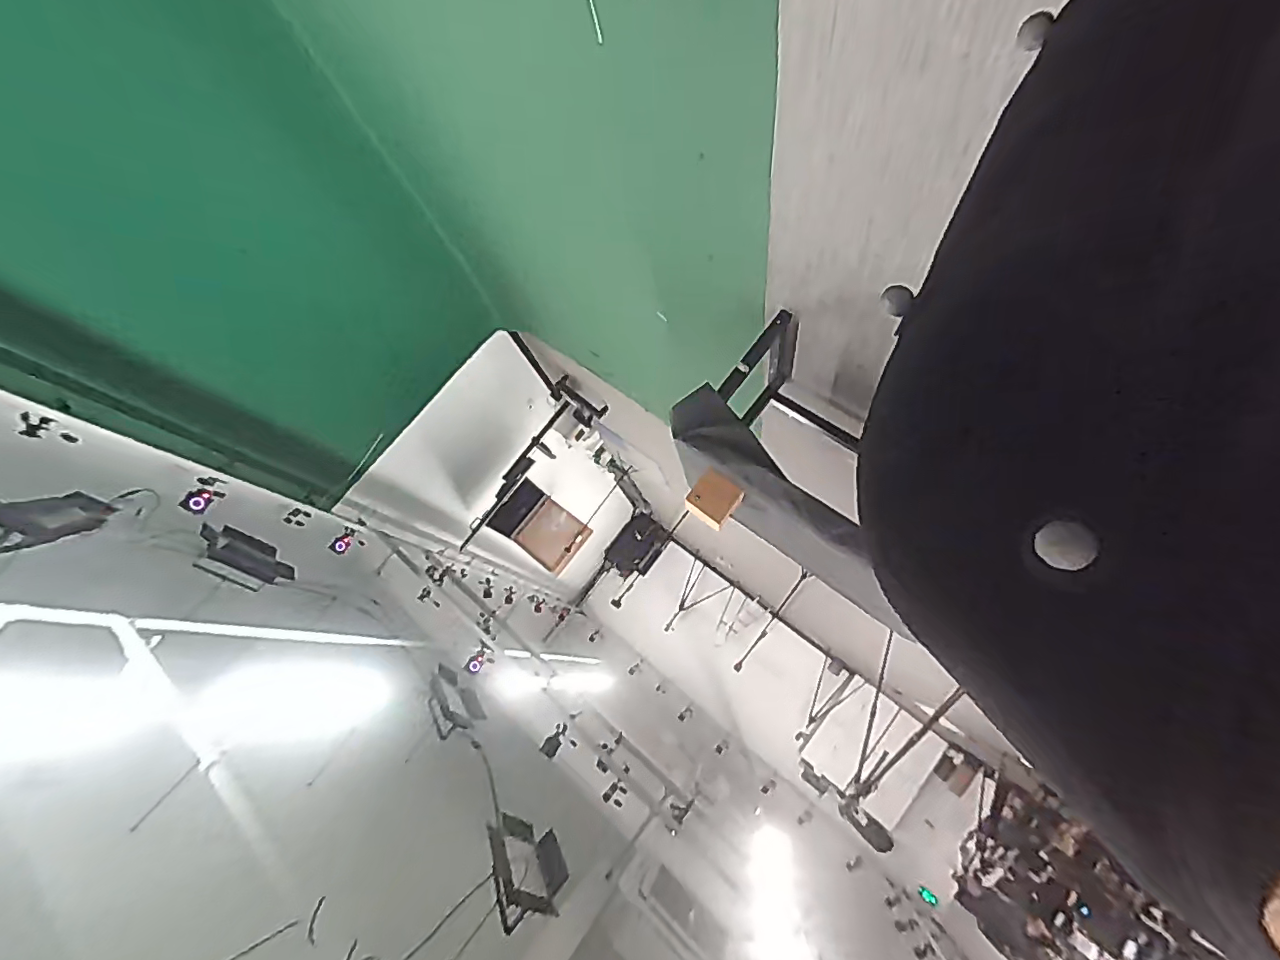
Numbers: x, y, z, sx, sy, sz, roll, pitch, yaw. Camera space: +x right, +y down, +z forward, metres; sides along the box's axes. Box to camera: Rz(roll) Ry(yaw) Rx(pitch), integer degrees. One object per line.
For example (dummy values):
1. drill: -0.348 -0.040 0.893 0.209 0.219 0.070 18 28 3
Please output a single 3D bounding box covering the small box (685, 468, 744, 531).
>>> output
1. small box: 0.301 0.077 2.183 0.179 0.176 0.168 37 172 14
